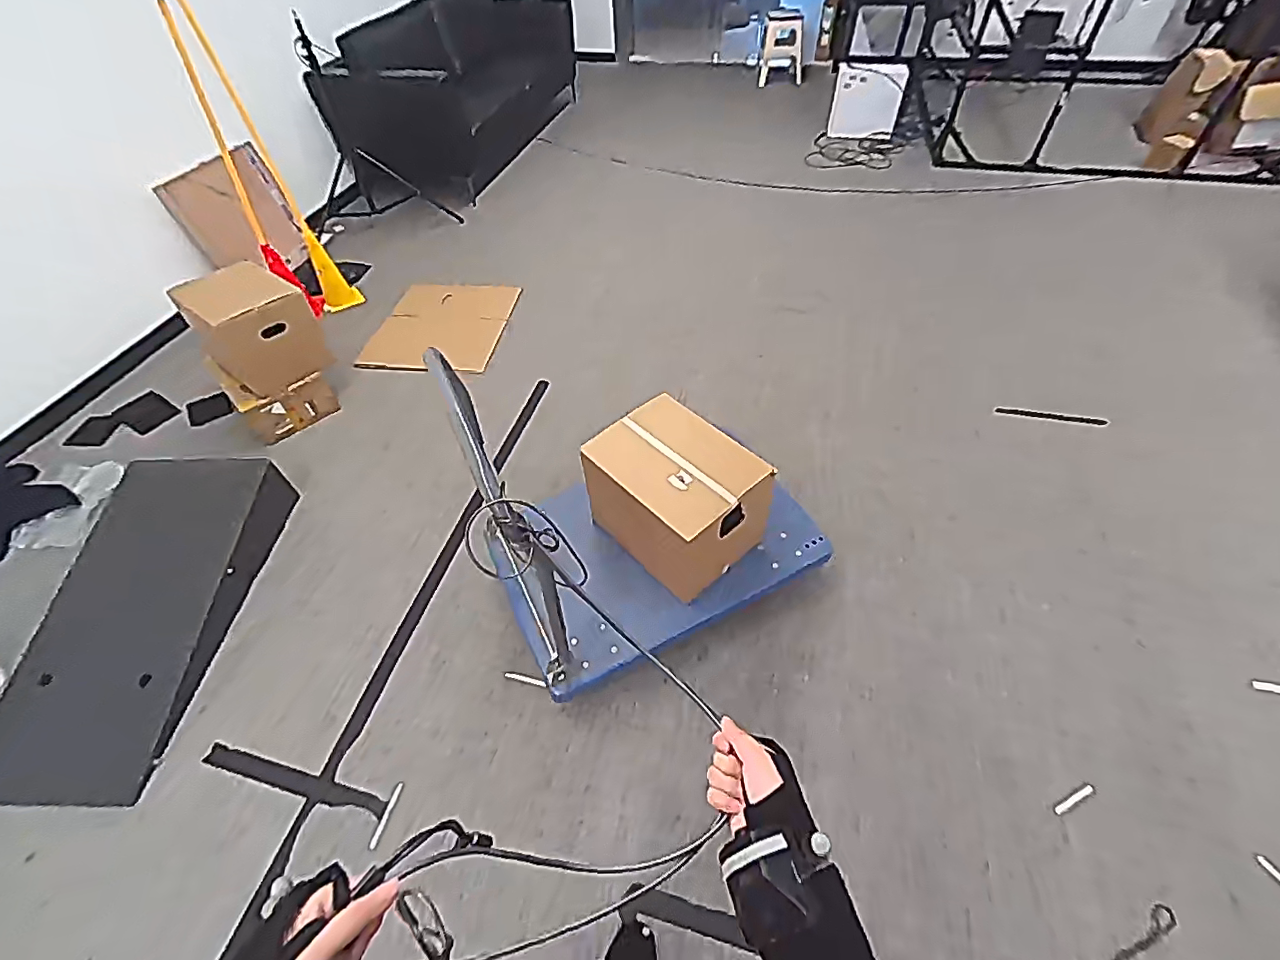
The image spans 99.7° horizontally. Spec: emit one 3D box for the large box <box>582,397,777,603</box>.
[{"bbox_3d":[0.096,0.047,1.470,0.320,0.320,0.408,-37,58,-23],"label":"large box"}]
